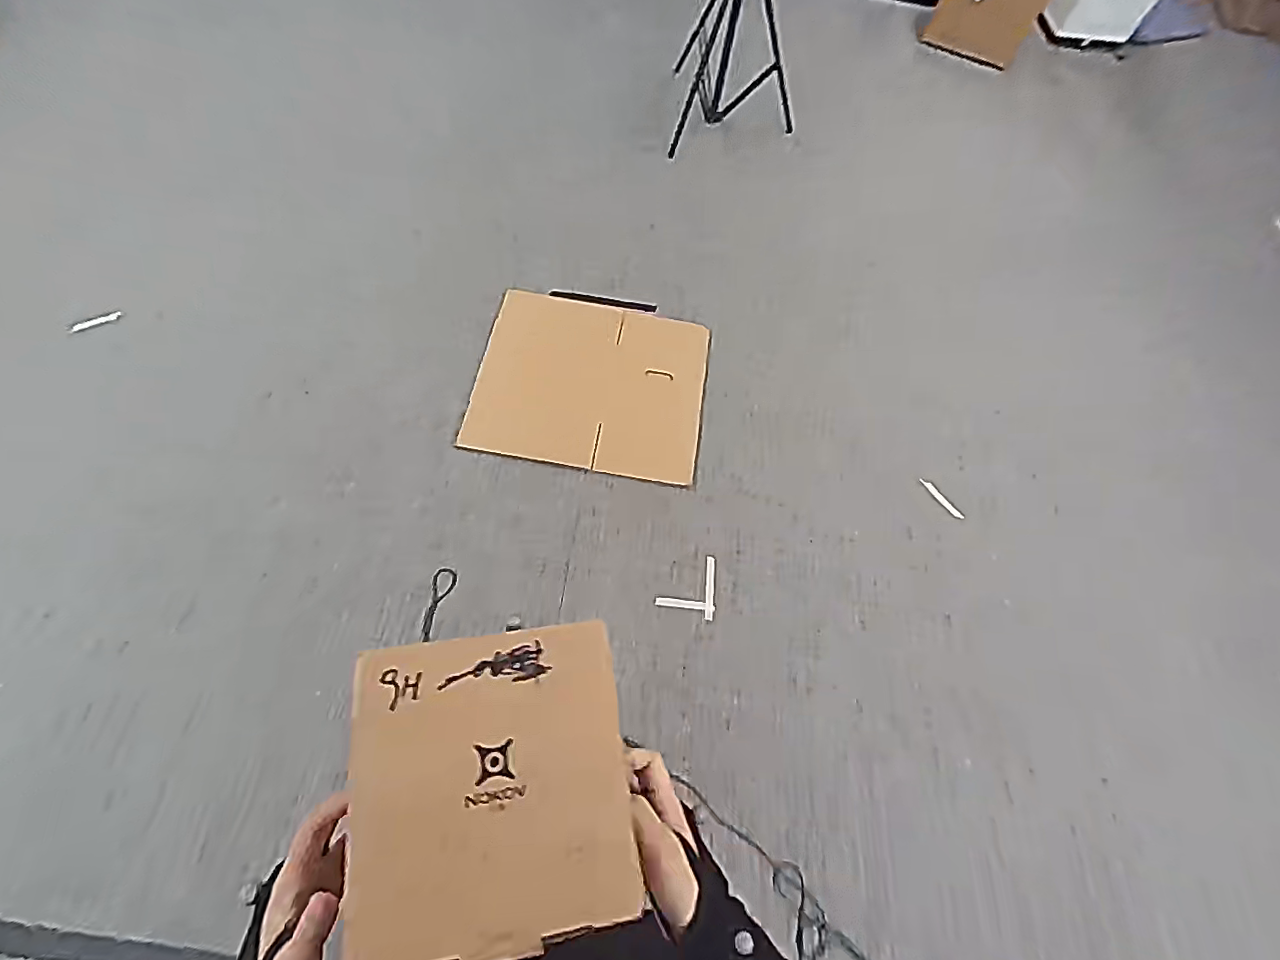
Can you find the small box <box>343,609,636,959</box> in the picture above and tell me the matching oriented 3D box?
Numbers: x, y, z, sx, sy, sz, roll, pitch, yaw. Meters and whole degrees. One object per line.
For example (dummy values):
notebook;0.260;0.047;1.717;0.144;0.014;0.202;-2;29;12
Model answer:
small box;-0.106;0.205;0.406;0.168;0.176;0.179;-5;68;-14
